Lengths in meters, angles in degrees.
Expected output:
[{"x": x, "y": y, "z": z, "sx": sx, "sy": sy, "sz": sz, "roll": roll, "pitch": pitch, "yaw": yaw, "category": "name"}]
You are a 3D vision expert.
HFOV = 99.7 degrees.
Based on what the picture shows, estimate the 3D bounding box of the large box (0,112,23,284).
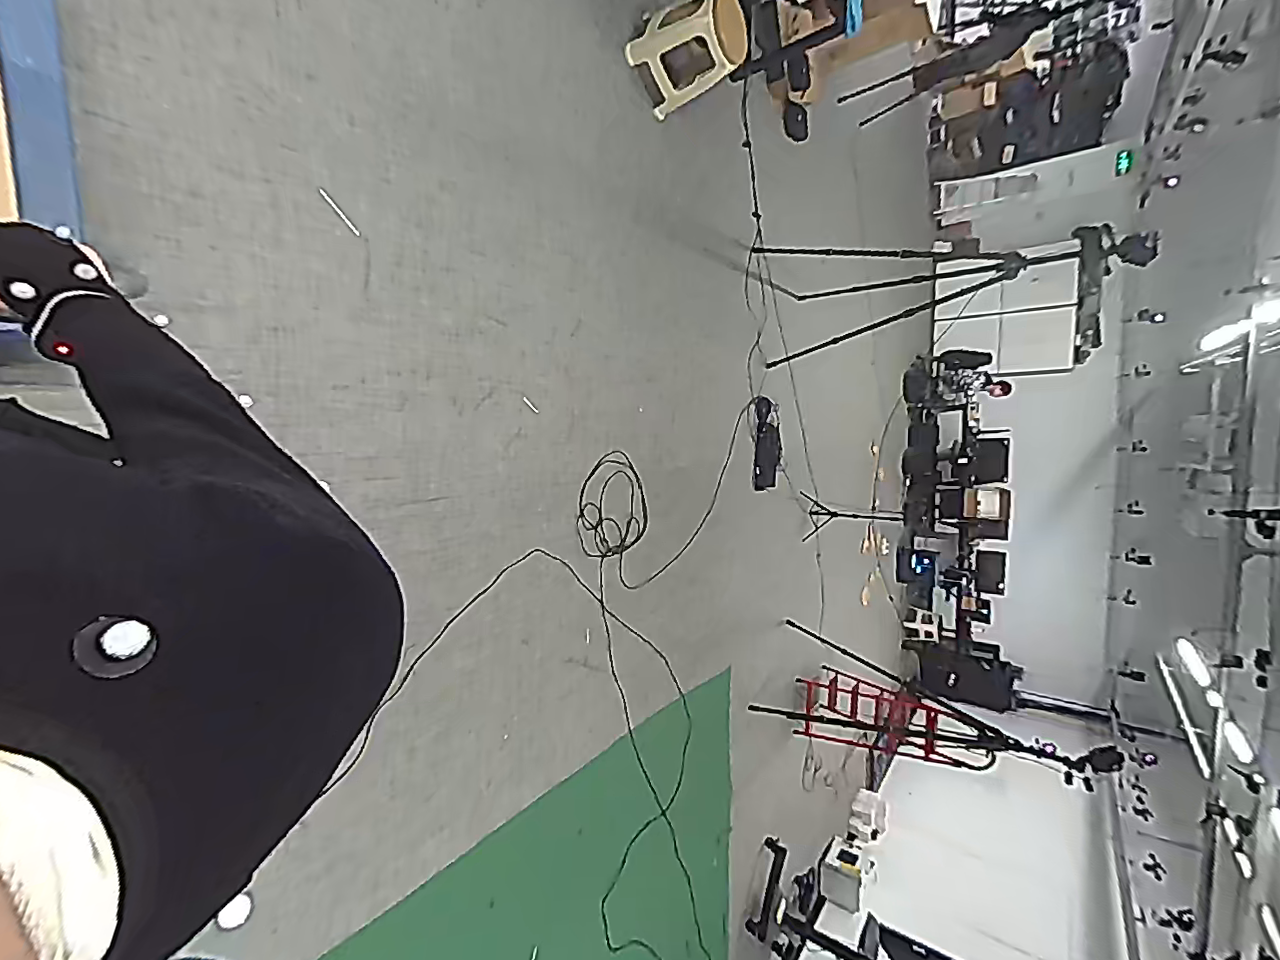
[{"x": -1.125, "y": -0.522, "z": 0.742, "sx": 0.320, "sy": 0.320, "sz": 0.408, "roll": -10, "pitch": 99, "yaw": -52, "category": "large box"}]
